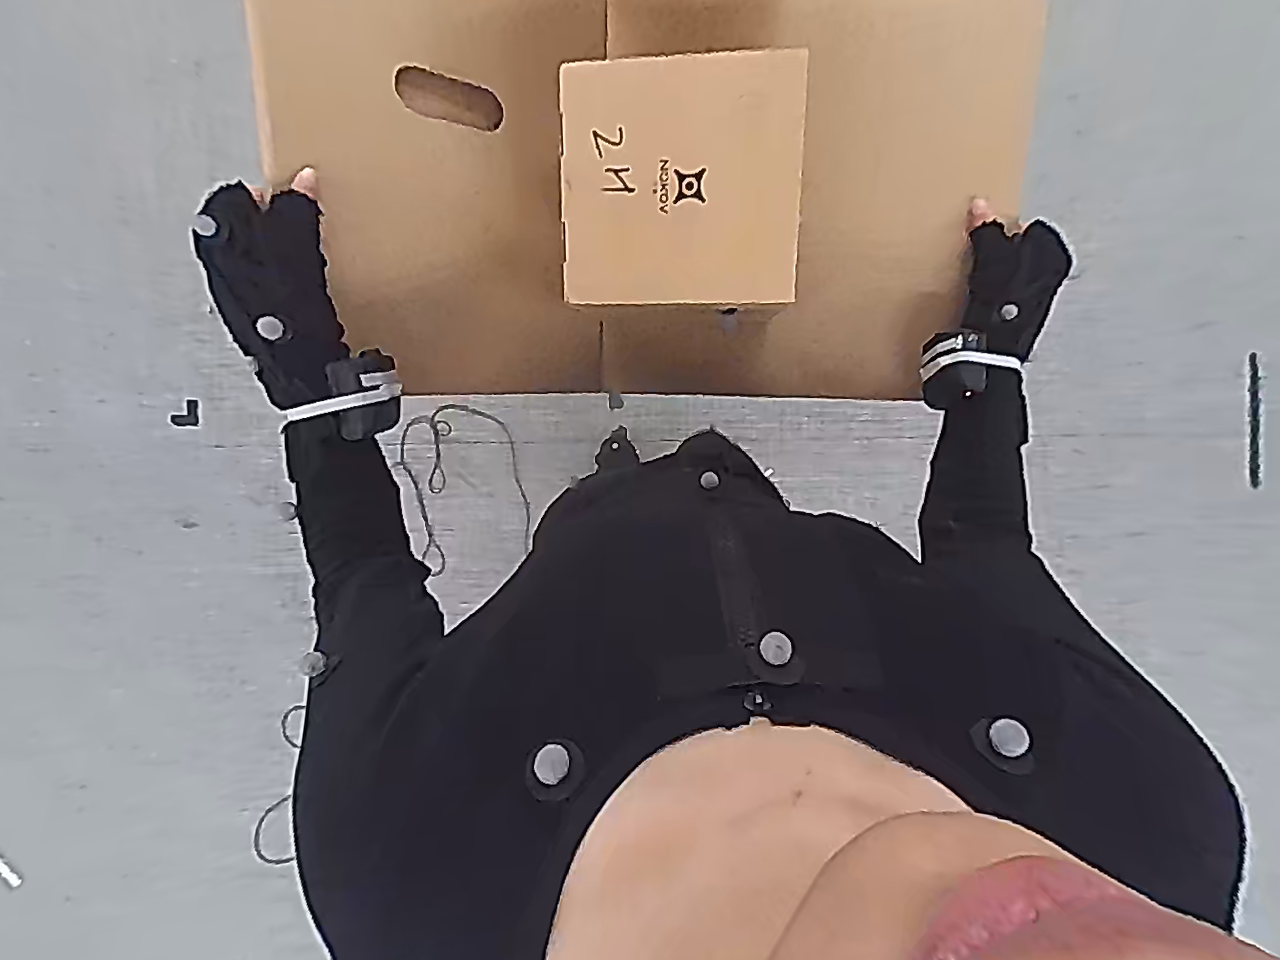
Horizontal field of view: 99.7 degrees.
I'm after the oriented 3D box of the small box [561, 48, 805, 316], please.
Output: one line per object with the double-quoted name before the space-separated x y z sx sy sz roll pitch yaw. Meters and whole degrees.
"small box" 0.036 -0.240 0.477 0.179 0.176 0.168 2 102 7
